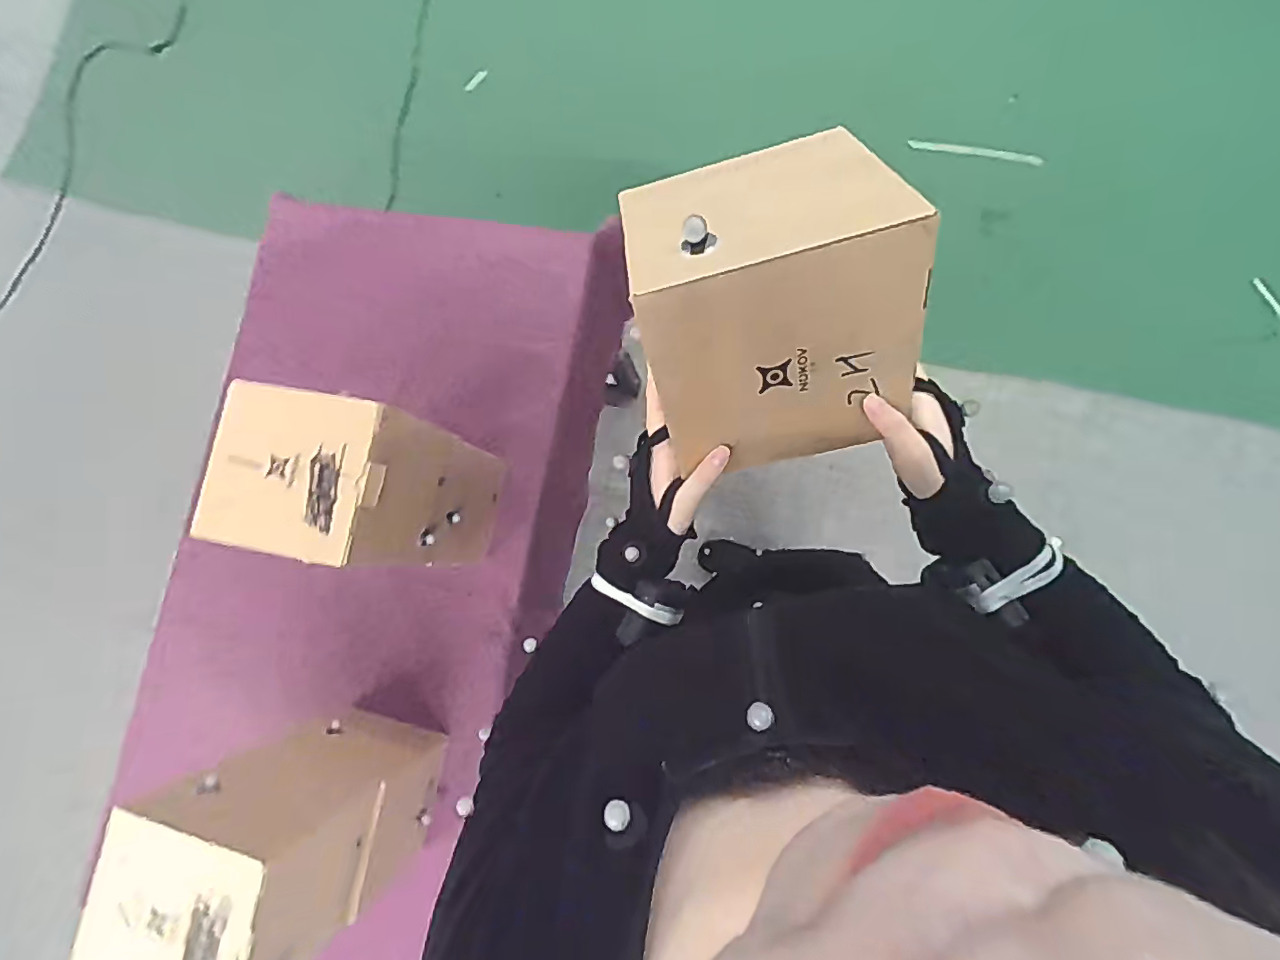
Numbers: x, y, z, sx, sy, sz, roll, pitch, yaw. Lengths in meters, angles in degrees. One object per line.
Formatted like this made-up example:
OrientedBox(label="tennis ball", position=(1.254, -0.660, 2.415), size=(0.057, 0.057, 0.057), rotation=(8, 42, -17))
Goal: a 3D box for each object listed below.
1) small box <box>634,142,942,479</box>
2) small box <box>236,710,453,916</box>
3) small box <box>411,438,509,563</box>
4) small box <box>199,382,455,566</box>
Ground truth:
OrientedBox(label="small box", position=(0.096, -0.128, 0.418), size=(0.179, 0.168, 0.176), rotation=(-11, 47, 8))
OrientedBox(label="small box", position=(-0.390, 0.434, 0.741), size=(0.179, 0.176, 0.168), rotation=(11, 85, 8))
OrientedBox(label="small box", position=(-0.316, 0.022, 0.783), size=(0.179, 0.176, 0.168), rotation=(10, 86, 10))
OrientedBox(label="small box", position=(-0.340, -0.001, 0.621), size=(0.179, 0.176, 0.168), rotation=(9, 84, 10))
